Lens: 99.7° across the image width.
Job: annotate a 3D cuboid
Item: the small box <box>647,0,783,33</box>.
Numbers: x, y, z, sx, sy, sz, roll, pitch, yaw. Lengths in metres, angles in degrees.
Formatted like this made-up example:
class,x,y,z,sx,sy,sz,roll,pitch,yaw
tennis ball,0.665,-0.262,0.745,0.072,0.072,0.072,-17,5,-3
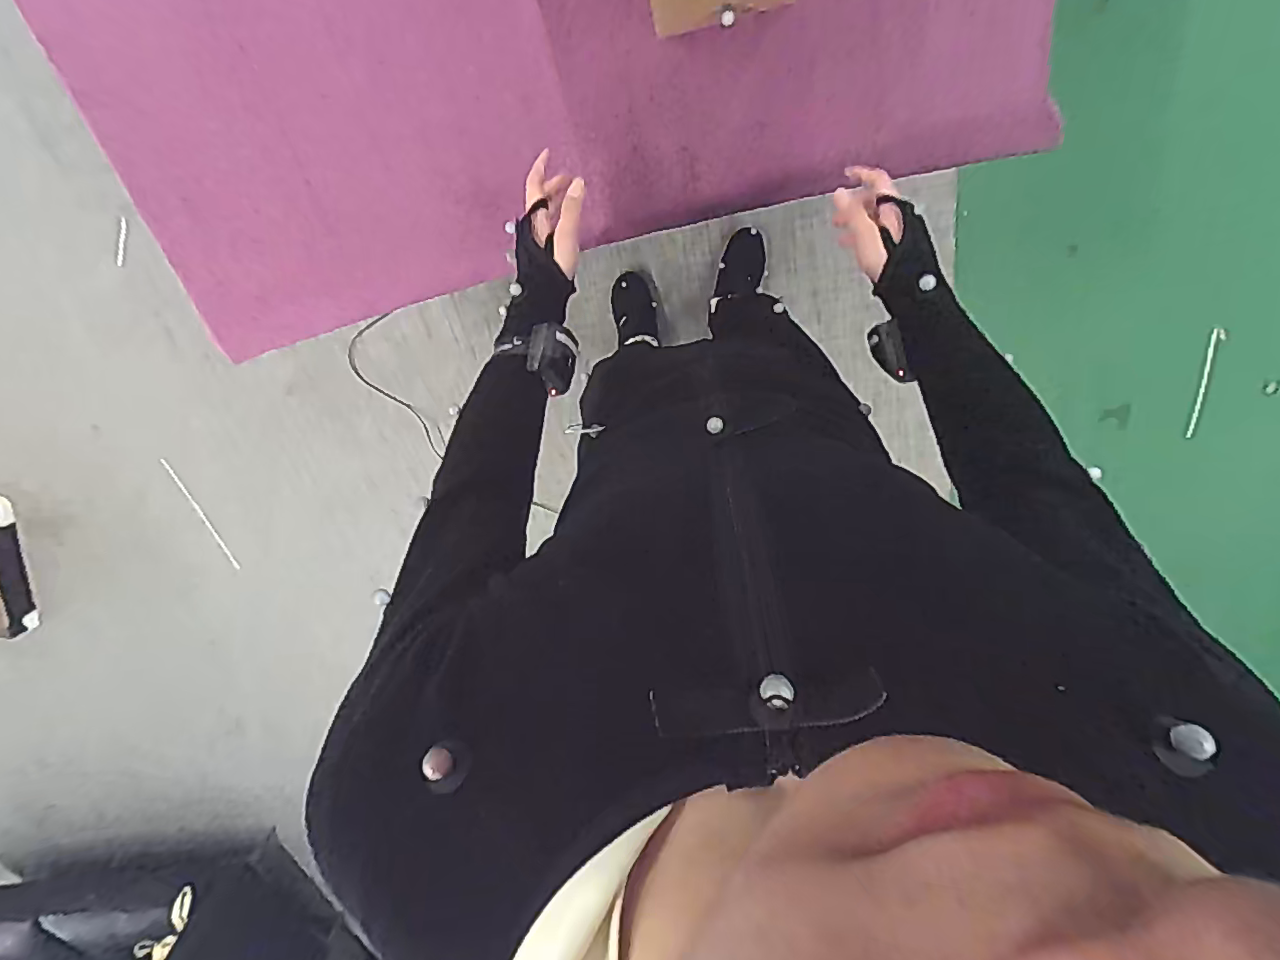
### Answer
class,x,y,z,sx,sy,sz,roll,pitch,yaw
small box,0.073,-0.585,0.529,0.168,0.176,0.179,-8,116,9
